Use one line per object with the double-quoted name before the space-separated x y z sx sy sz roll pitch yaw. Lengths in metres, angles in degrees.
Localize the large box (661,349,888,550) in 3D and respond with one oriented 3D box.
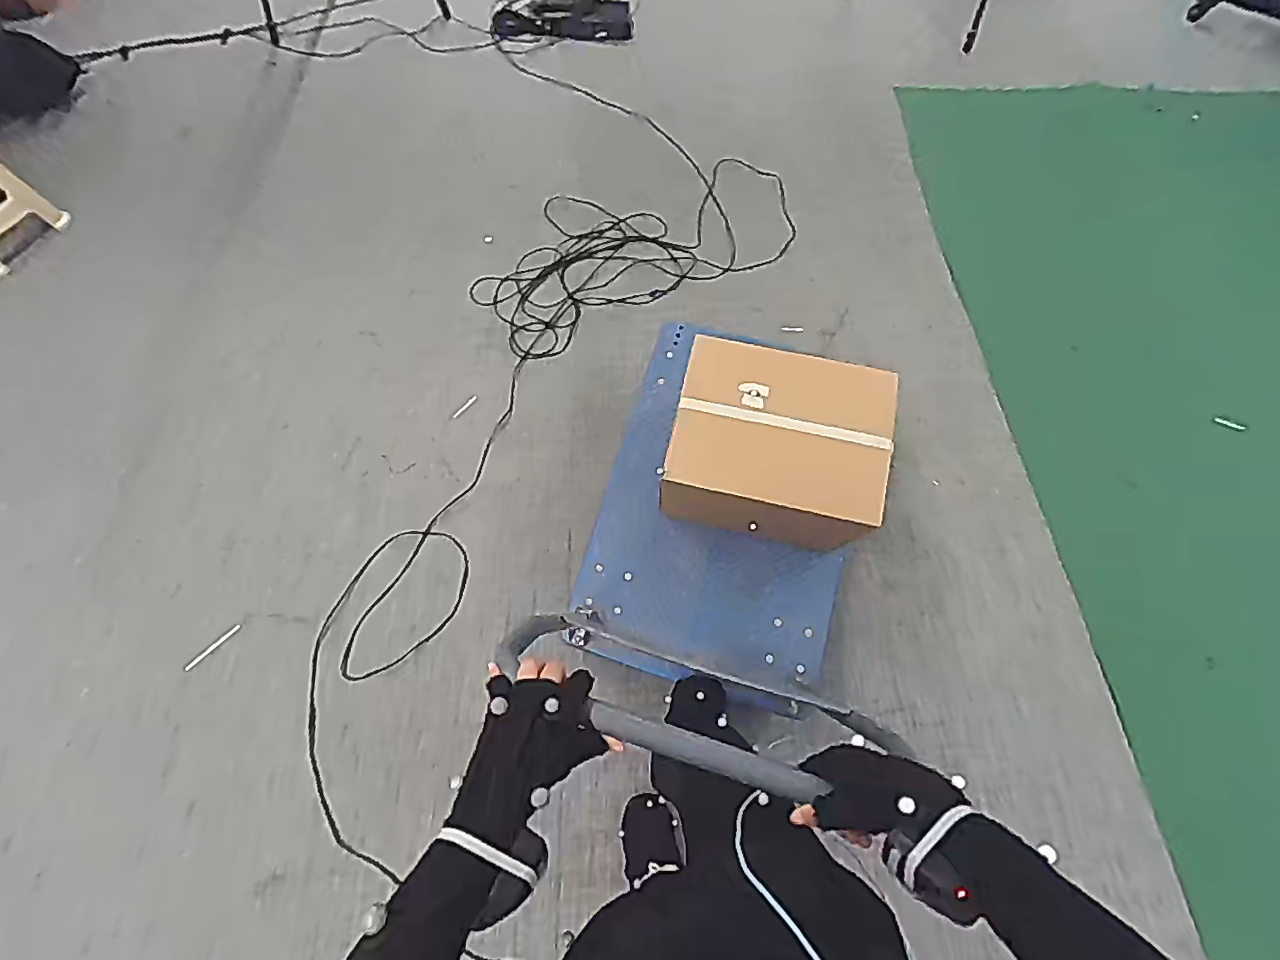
"large box" 0.274 -0.049 1.184 0.408 0.320 0.320 12 74 7
